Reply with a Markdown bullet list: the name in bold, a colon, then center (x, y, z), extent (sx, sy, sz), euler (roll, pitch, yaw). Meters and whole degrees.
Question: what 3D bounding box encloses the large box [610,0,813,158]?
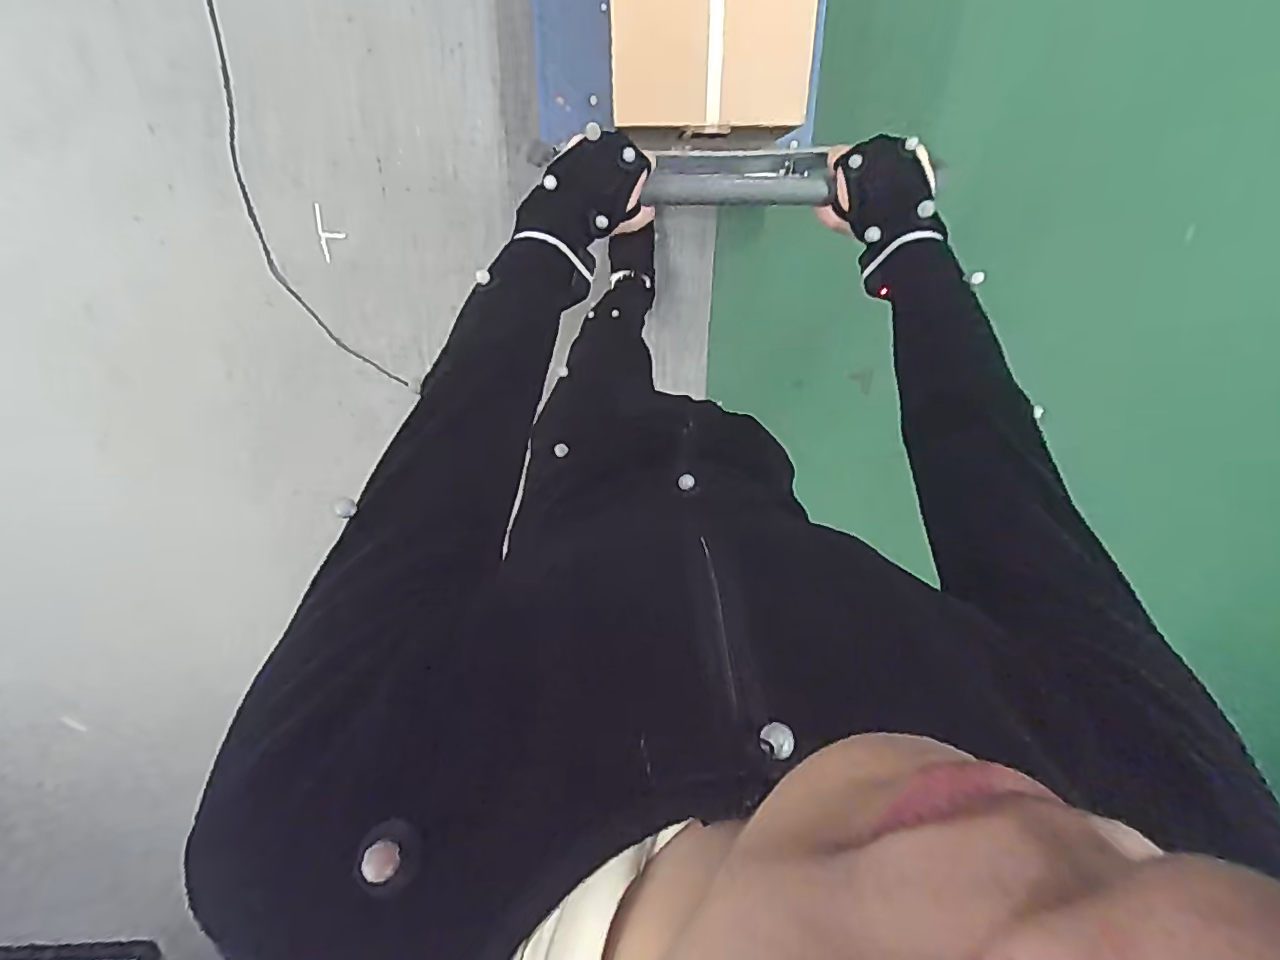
- **large box**: center (0.104, -0.813, 0.937), extent (0.320, 0.320, 0.408), euler (-2, 113, -2)
